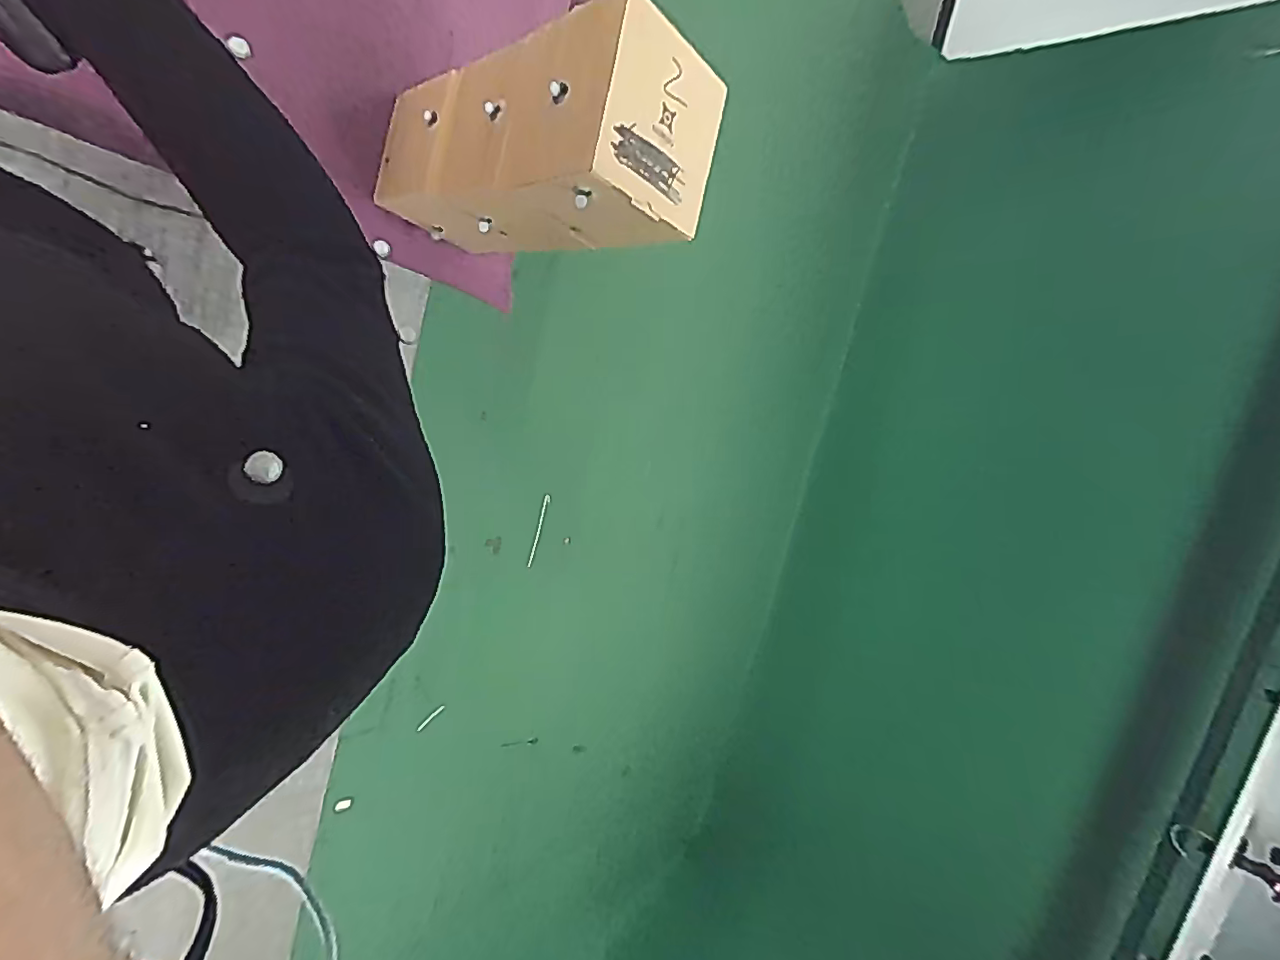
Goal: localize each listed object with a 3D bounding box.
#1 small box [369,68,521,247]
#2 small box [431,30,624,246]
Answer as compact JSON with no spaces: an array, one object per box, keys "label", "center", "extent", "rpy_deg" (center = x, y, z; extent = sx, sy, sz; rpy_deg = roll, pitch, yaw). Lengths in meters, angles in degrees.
[{"label":"small box","center":[-0.276,-0.475,0.825],"extent":[0.179,0.176,0.168],"rpy_deg":[11,96,-51]},{"label":"small box","center":[-0.154,-0.435,0.724],"extent":[0.168,0.176,0.179],"rpy_deg":[11,97,-49]}]
